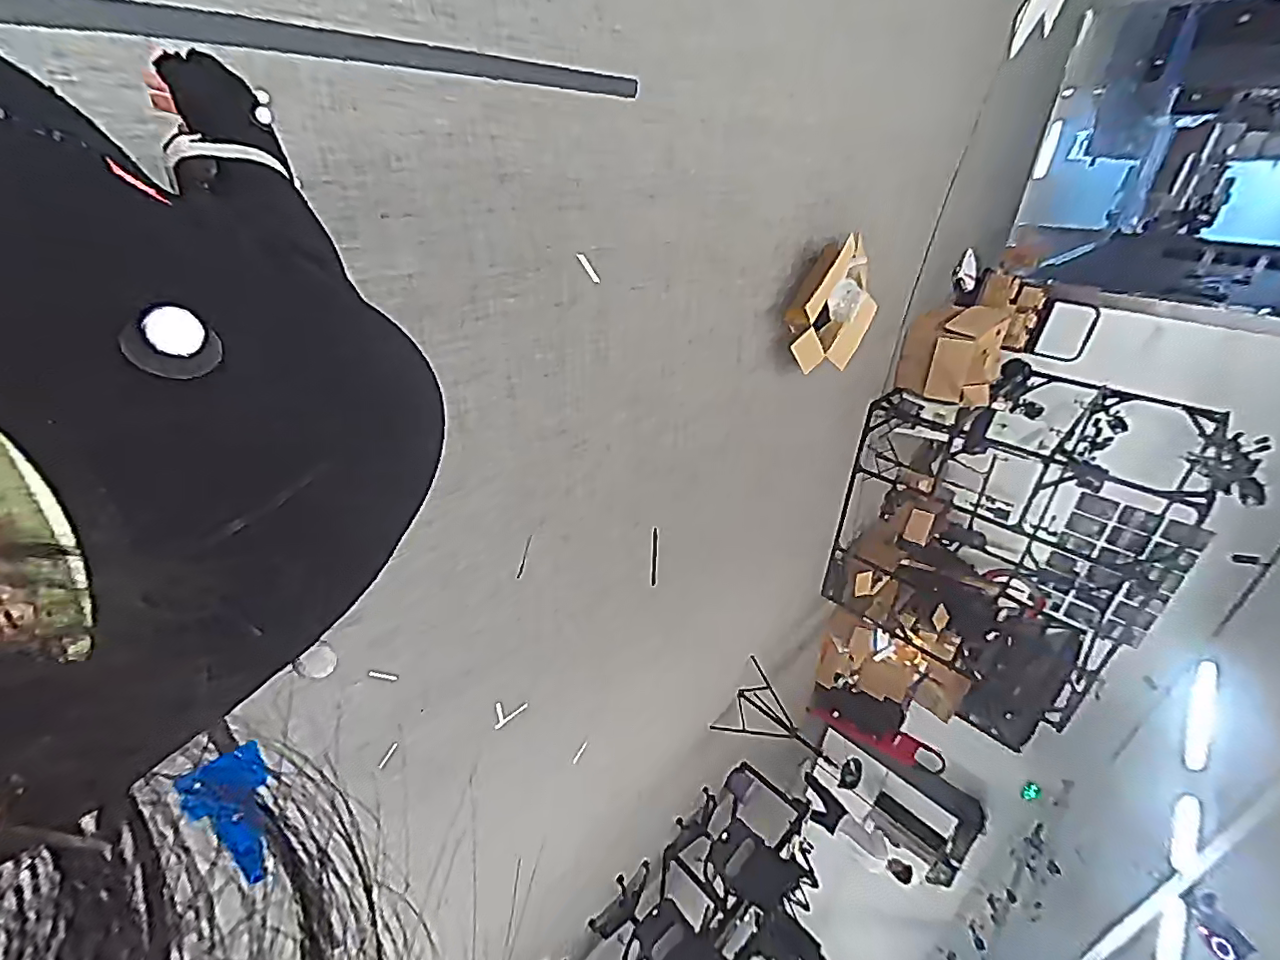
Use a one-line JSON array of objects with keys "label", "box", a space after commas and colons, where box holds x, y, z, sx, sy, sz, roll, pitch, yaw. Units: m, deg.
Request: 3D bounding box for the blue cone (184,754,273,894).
[{"label": "blue cone", "box": [-1.096, 0.984, 1.505, 0.193, 0.380, 0.192, -22, 129, -40]}]
